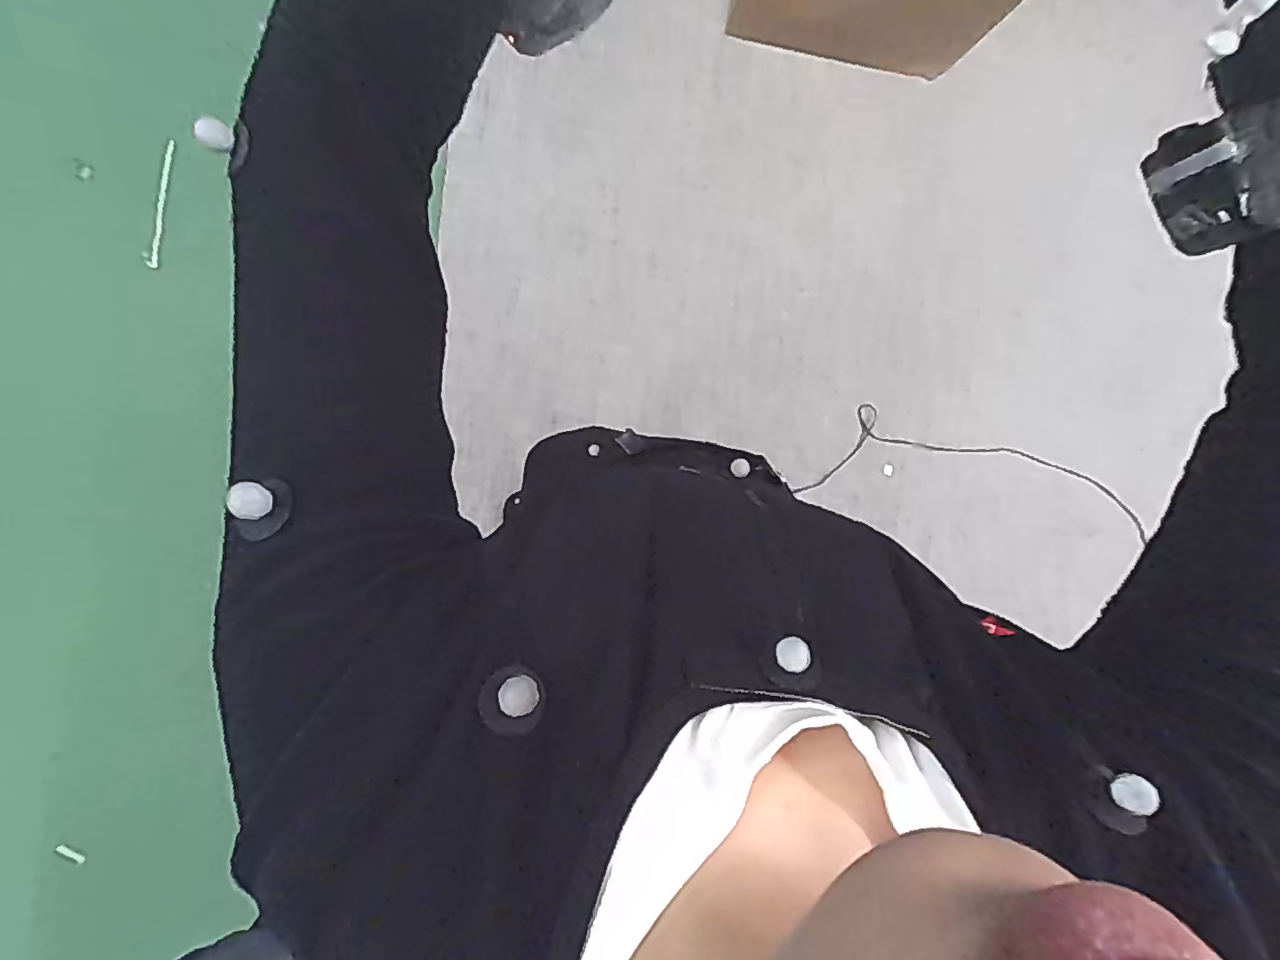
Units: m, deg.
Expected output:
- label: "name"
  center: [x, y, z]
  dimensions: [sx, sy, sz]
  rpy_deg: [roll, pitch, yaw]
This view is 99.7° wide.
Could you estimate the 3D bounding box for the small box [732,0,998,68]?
- label: "small box"
  center: [0.168, -0.398, 0.331]
  dimensions: [0.179, 0.176, 0.168]
  rpy_deg: [8, 100, -7]
